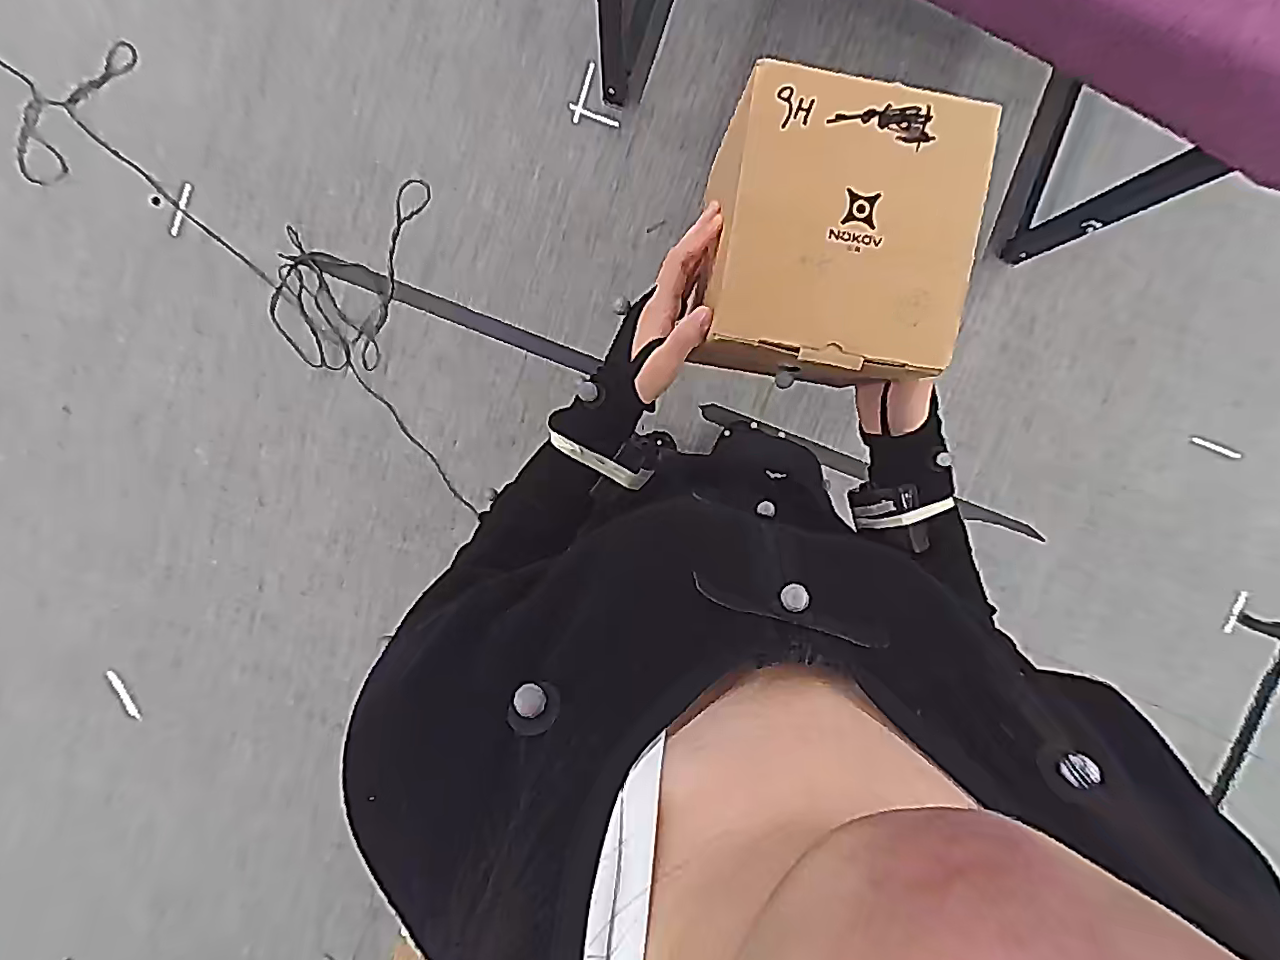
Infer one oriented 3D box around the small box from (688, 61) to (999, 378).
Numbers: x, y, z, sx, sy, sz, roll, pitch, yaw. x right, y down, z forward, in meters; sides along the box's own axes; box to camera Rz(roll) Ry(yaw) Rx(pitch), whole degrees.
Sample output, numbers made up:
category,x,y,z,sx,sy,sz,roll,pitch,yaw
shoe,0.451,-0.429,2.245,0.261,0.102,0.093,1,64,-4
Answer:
category,x,y,z,sx,sy,sz,roll,pitch,yaw
small box,0.139,-0.182,0.439,0.168,0.176,0.179,8,97,-5
